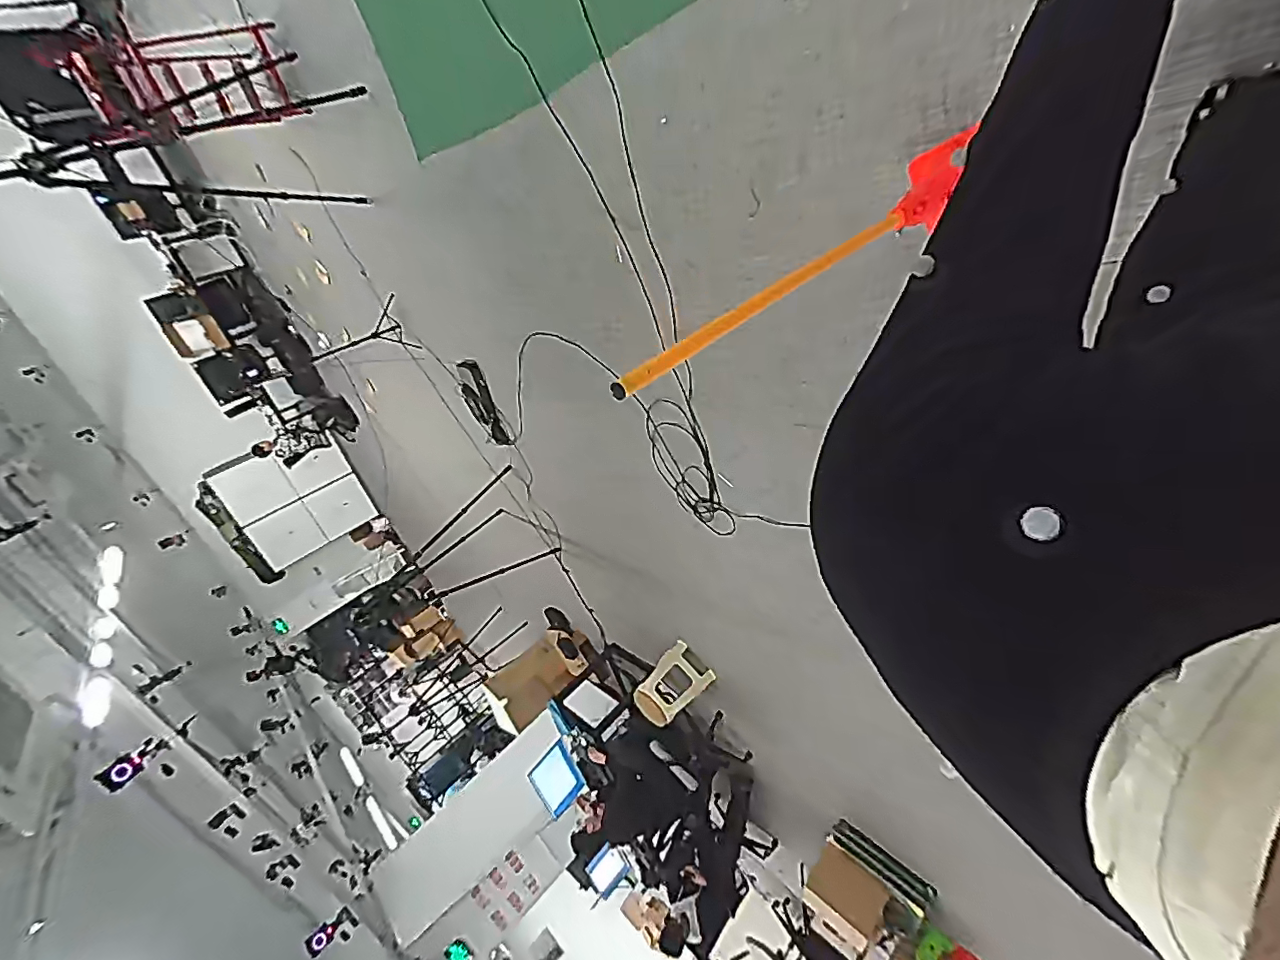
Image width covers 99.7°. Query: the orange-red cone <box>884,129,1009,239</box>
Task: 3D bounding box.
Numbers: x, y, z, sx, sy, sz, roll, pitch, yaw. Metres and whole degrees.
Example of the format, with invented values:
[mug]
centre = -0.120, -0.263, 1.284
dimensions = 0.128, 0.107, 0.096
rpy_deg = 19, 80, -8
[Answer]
[orange-red cone]
centre = 0.651, -0.625, 1.226
dimensions = 0.199, 0.360, 0.198
rpy_deg = -3, 117, 55
